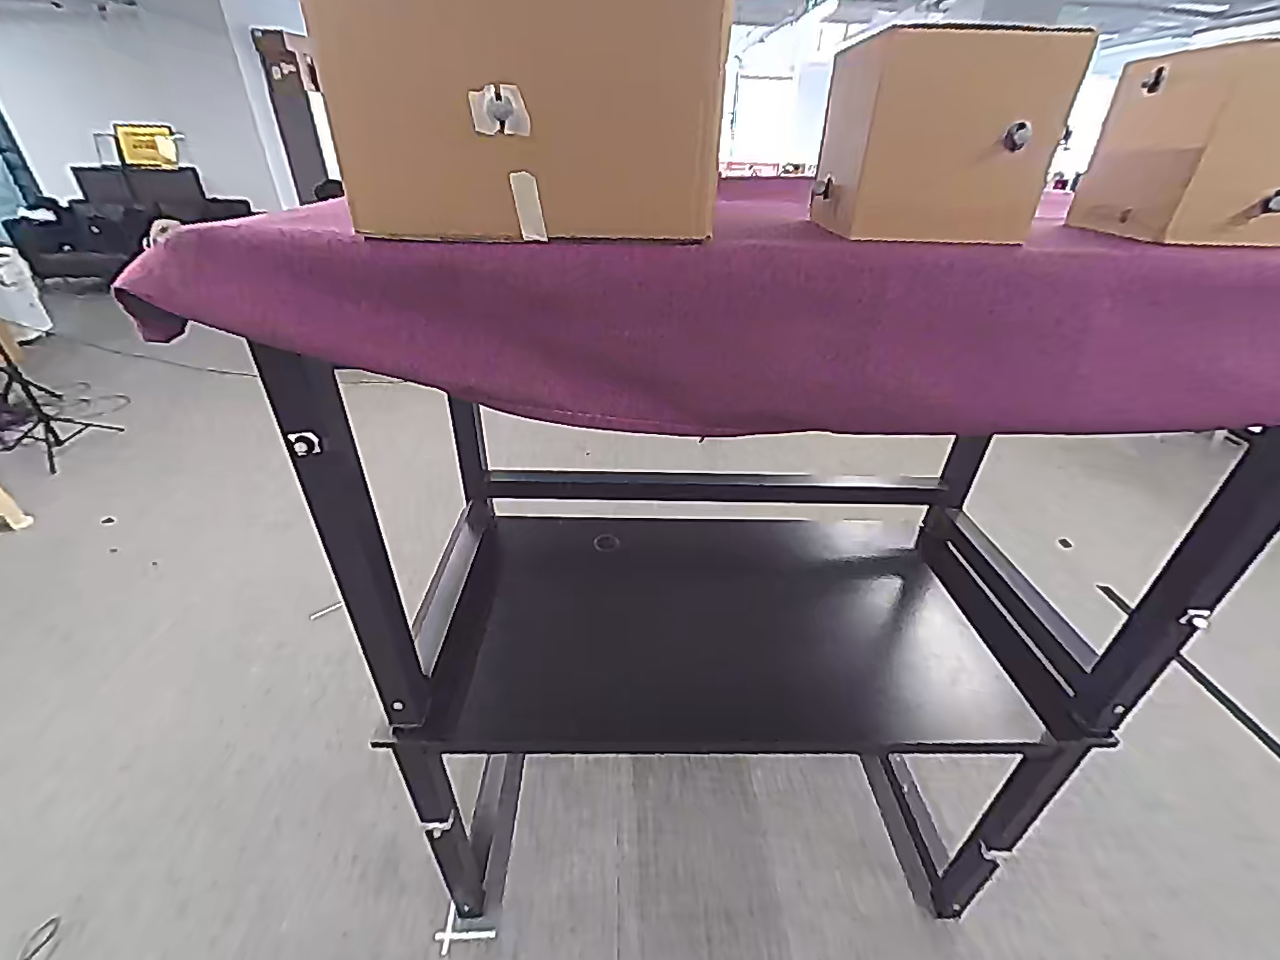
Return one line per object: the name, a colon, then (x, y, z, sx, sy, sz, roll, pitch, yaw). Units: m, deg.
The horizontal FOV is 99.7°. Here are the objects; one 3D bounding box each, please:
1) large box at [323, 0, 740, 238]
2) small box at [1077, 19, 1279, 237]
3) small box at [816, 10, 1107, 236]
large box: (-0.091, -0.440, 0.555, 0.320, 0.320, 0.408, 0, 31, -4)
small box: (0.620, -0.354, 0.562, 0.179, 0.176, 0.168, 3, 31, 3)
small box: (0.297, -0.350, 0.550, 0.179, 0.176, 0.168, 1, 31, 1)
